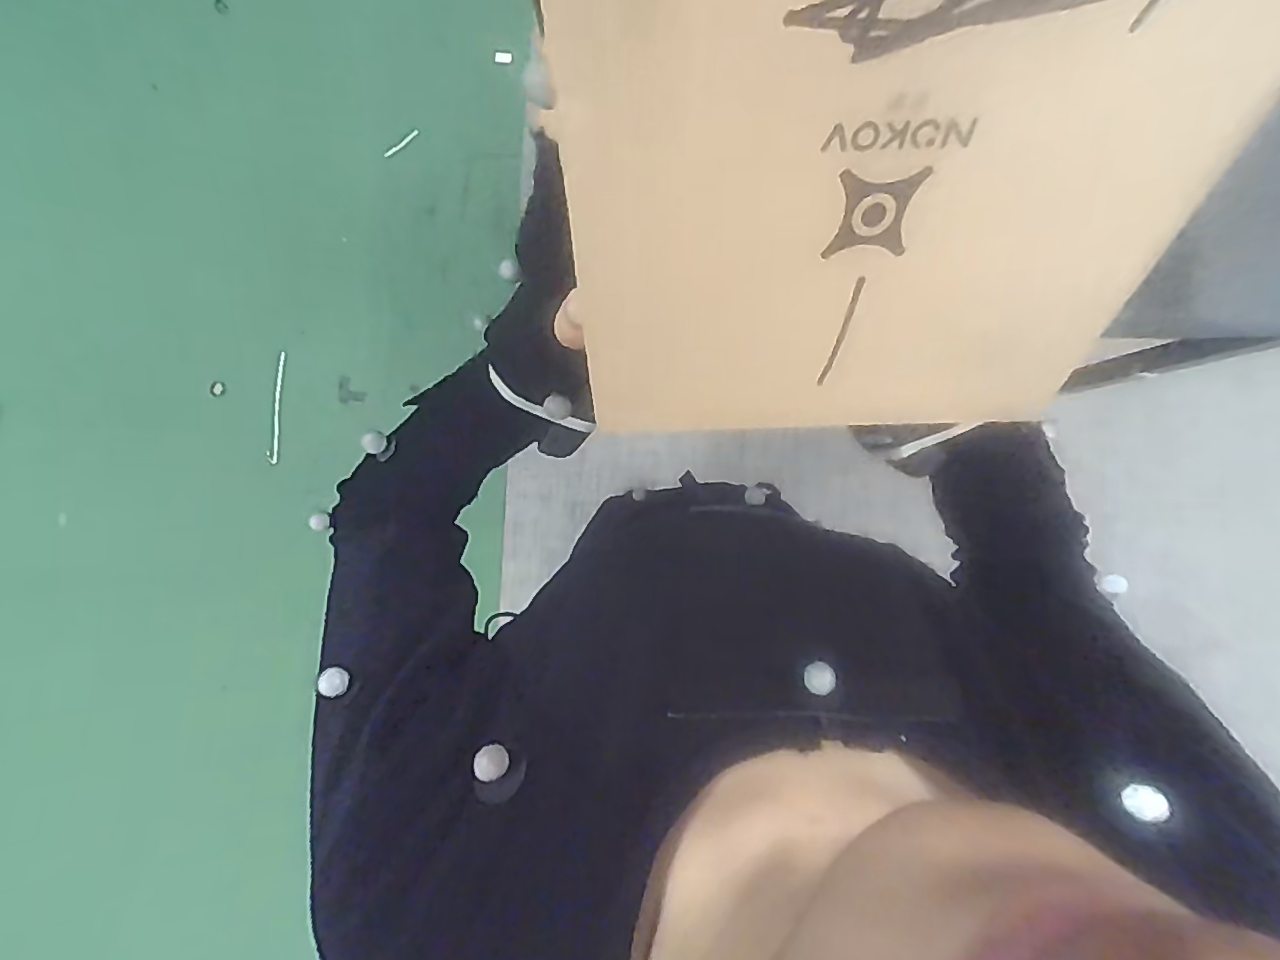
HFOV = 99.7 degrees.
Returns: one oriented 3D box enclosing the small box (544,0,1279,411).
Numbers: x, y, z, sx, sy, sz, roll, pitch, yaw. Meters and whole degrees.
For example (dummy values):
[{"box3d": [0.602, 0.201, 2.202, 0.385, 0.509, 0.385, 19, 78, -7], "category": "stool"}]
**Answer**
[{"box3d": [0.059, -0.145, 0.186, 0.168, 0.179, 0.176, -1, 49, 1], "category": "small box"}]
